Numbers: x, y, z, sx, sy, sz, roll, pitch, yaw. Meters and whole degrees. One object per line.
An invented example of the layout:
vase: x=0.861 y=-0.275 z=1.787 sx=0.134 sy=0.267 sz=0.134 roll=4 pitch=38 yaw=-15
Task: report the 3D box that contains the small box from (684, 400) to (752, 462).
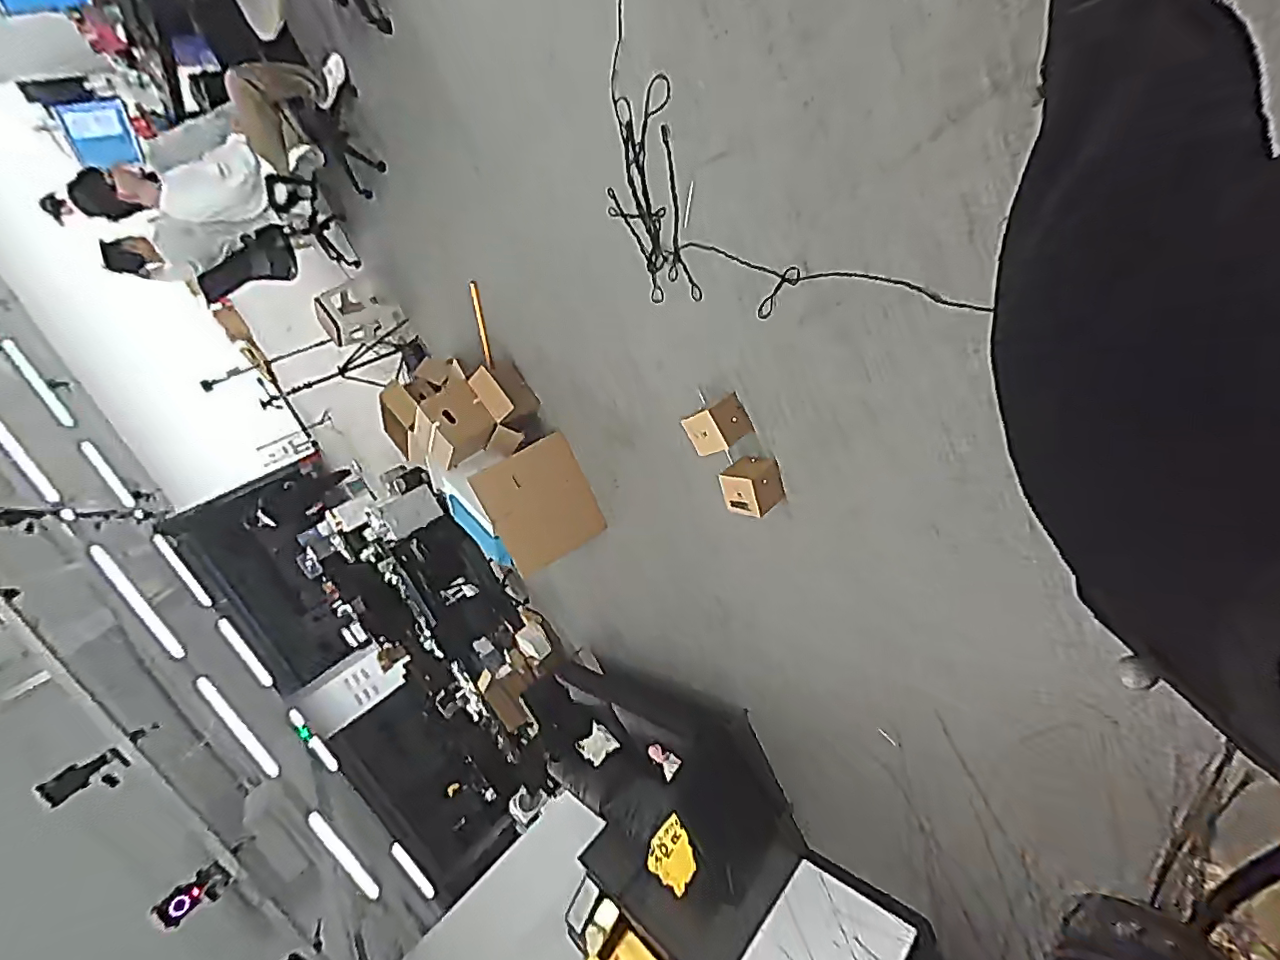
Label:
small box: x=0.311 y=-0.194 z=2.105 sx=0.179 sy=0.176 sz=0.168 roll=-16 pitch=106 yaw=57
